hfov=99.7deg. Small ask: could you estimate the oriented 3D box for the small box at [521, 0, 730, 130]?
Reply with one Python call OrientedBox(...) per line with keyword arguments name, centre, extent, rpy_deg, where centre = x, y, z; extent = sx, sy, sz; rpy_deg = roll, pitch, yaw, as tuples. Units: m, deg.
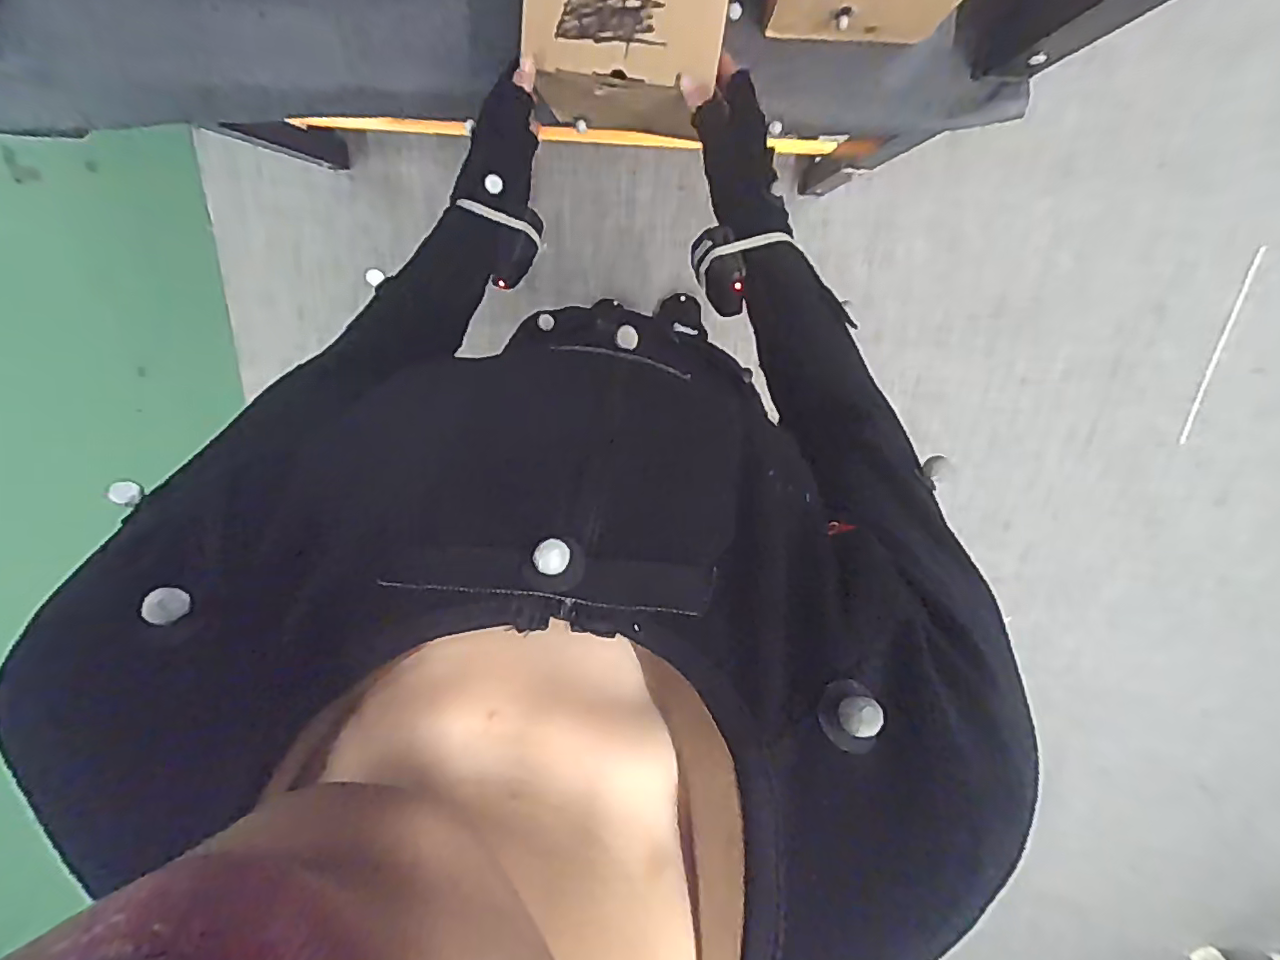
OrientedBox(name="small box", centre=(-0.001, -0.444, 0.491), extent=(0.168, 0.176, 0.179), rpy_deg=(9, 110, 0))
